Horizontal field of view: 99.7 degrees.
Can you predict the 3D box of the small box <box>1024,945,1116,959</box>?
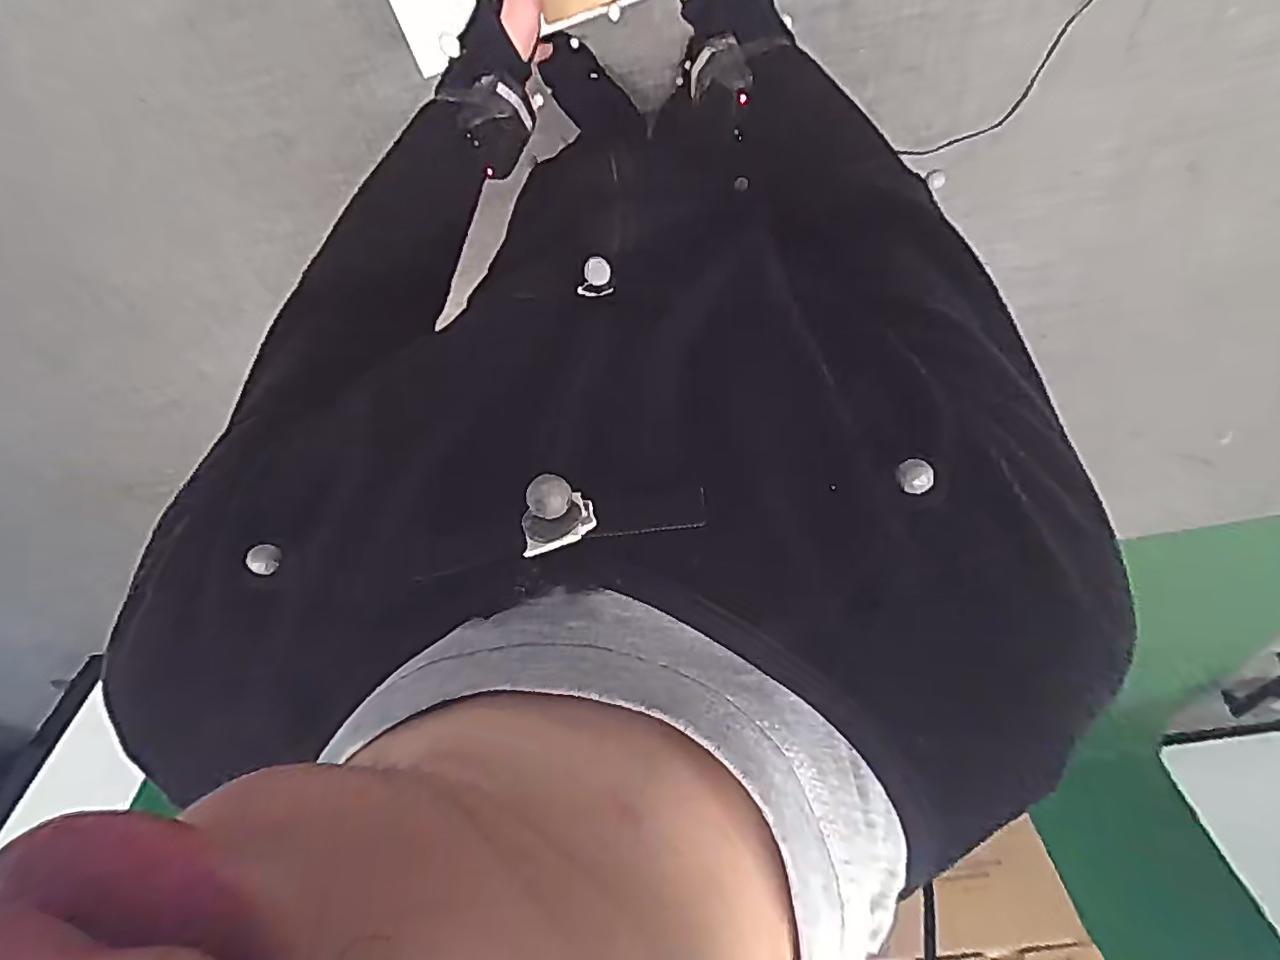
[{"bbox_3d":[0.990,1.159,1.202,0.168,0.176,0.179,-11,133,1],"label":"small box"}]
